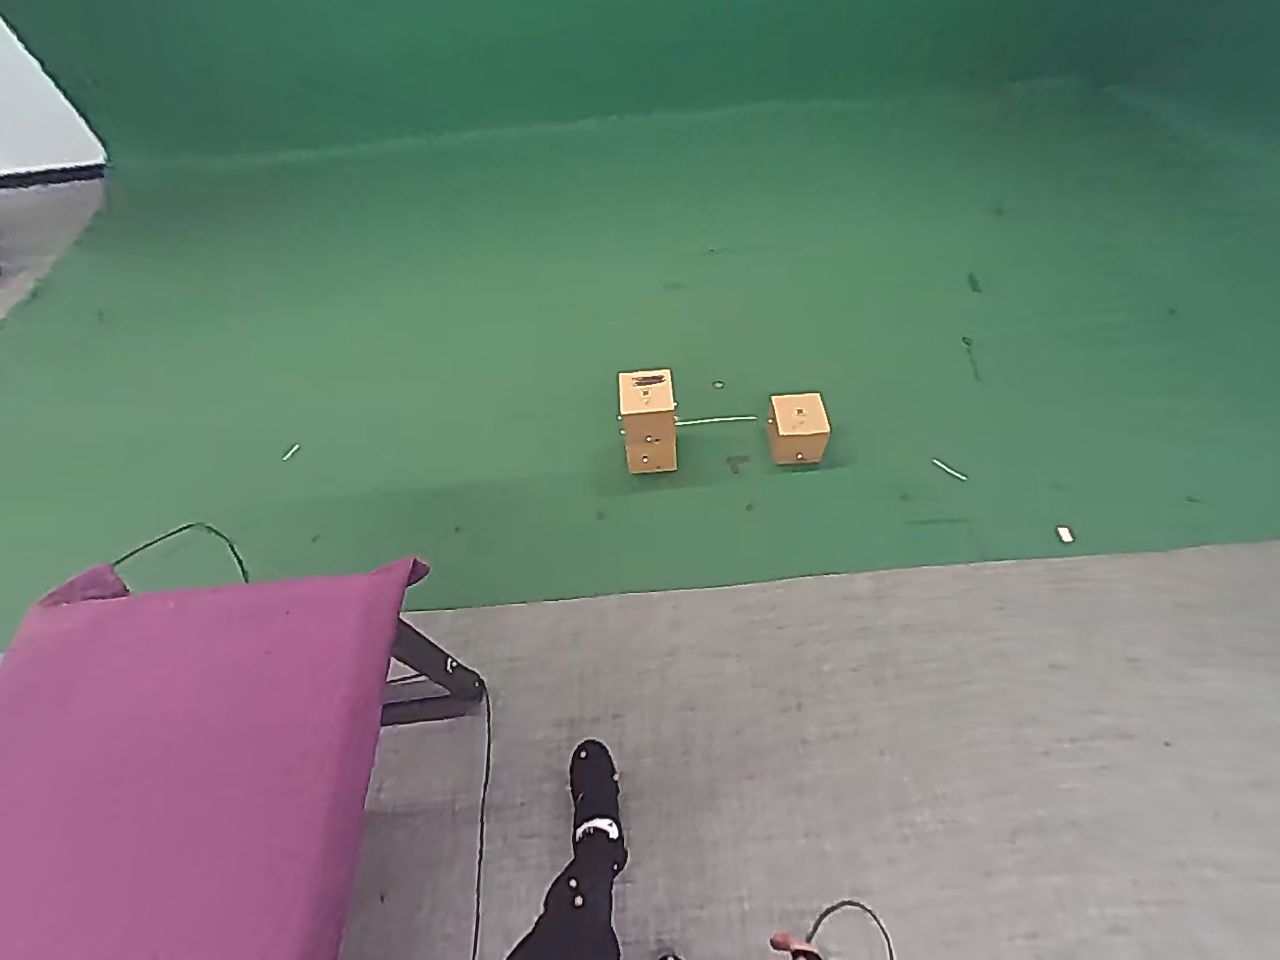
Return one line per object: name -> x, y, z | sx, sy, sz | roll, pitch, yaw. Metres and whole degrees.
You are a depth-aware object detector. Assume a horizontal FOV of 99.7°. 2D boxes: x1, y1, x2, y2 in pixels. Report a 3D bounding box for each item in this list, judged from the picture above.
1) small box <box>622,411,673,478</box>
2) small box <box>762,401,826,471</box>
small box -> 0.026, -0.117, 1.889 | 0.168, 0.176, 0.179 | -5, 55, 1
small box -> 0.528, -0.151, 1.877 | 0.168, 0.176, 0.179 | -3, 56, 1
